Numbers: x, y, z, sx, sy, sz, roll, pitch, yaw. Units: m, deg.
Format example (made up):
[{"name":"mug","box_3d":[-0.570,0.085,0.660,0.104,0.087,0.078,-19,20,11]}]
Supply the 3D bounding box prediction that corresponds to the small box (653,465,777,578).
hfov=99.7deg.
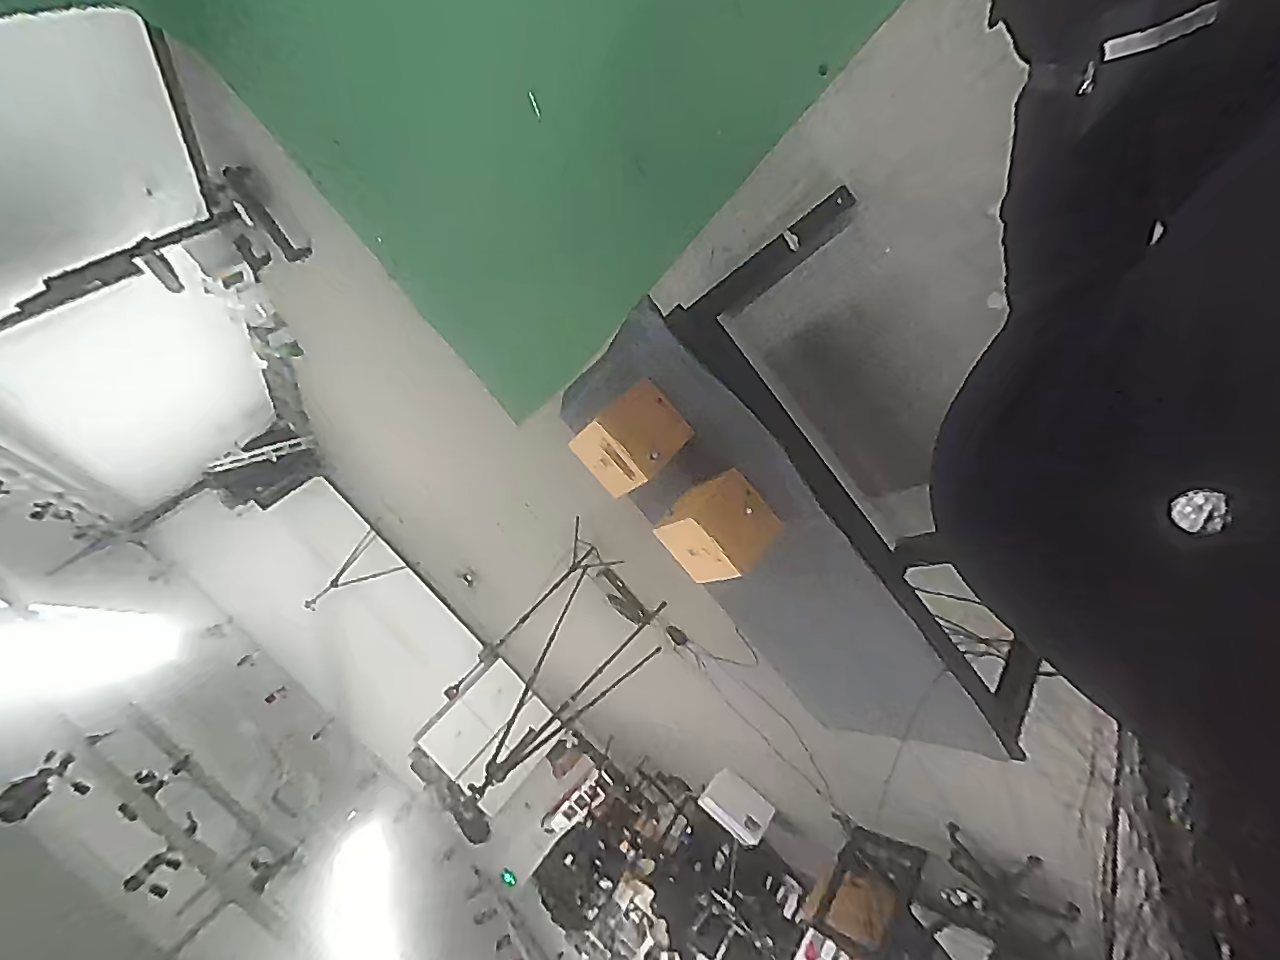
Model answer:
[{"name":"small box","box_3d":[0.167,0.094,1.193,0.168,0.176,0.179,49,150,-8]}]
